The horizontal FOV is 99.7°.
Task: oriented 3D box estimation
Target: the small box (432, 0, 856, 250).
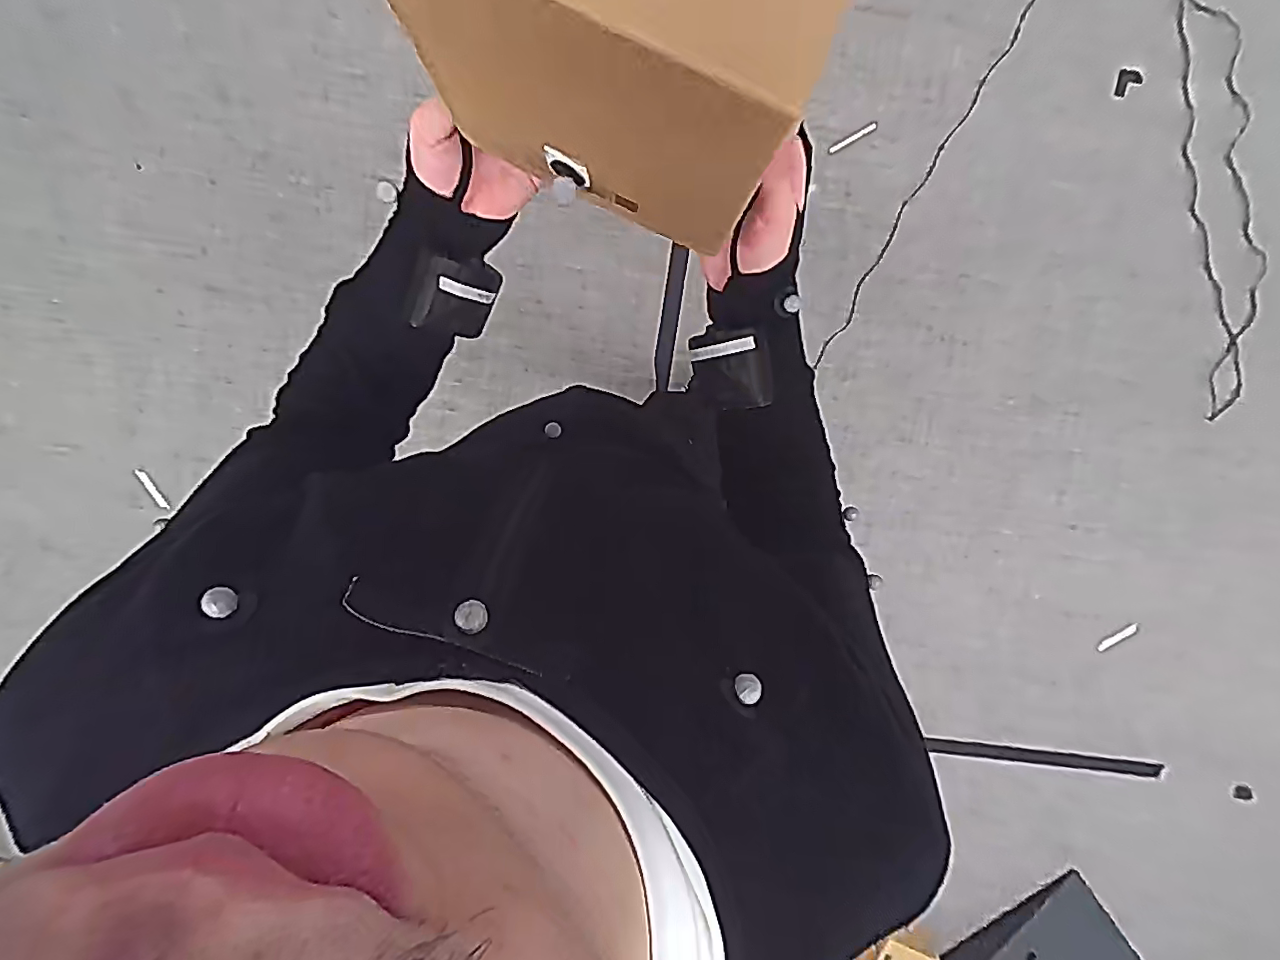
[{"bbox_3d":[0.011,-0.243,0.255,0.168,0.176,0.179,21,95,-4],"label":"small box"}]
